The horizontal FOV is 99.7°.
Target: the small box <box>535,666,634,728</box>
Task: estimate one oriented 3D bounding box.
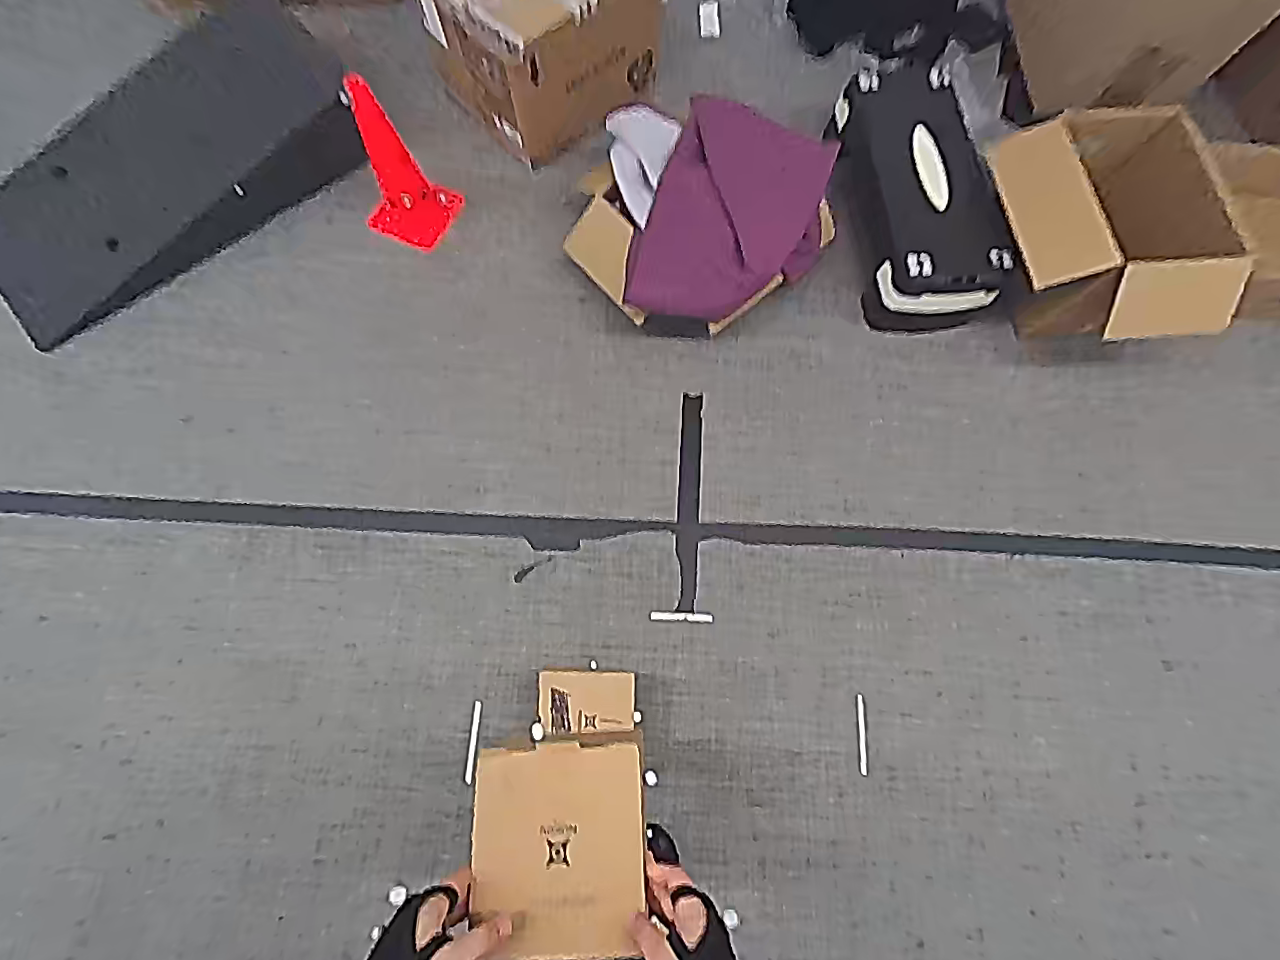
[{"bbox_3d":[-0.101,0.450,1.039,0.179,0.176,0.168,1,74,-2],"label":"small box"}]

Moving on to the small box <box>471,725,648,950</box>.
[{"bbox_3d":[-0.078,0.375,0.602,0.168,0.176,0.179,-4,71,1],"label":"small box"}]
